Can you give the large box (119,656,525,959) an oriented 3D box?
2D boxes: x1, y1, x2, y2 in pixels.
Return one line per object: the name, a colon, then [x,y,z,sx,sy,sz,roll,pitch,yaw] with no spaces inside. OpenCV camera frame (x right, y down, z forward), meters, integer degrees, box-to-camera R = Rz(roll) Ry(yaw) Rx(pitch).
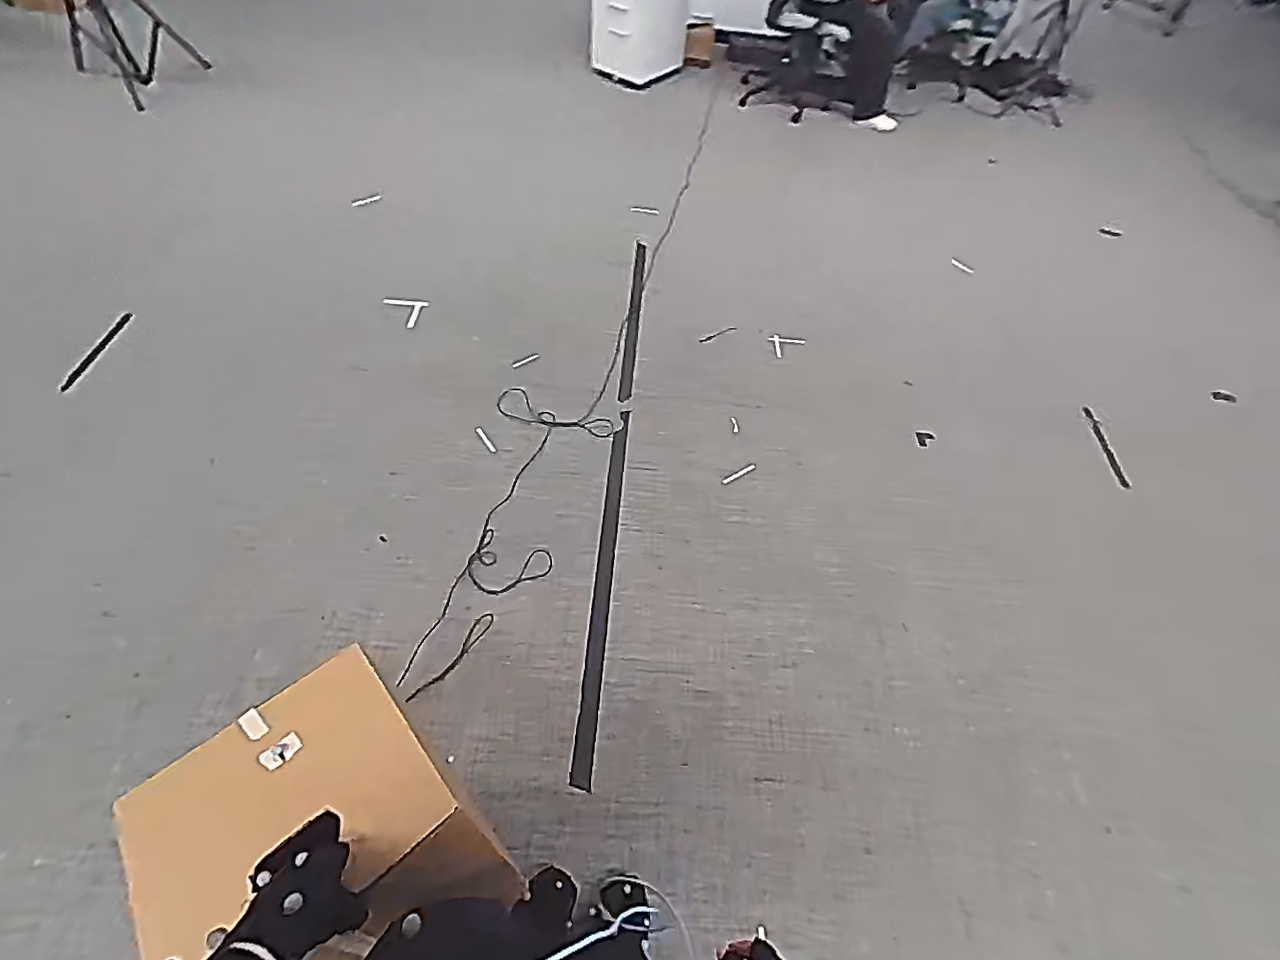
large box: [-0.421,0.540,0.789,0.320,0.408,0.320,-35,51,-28]
